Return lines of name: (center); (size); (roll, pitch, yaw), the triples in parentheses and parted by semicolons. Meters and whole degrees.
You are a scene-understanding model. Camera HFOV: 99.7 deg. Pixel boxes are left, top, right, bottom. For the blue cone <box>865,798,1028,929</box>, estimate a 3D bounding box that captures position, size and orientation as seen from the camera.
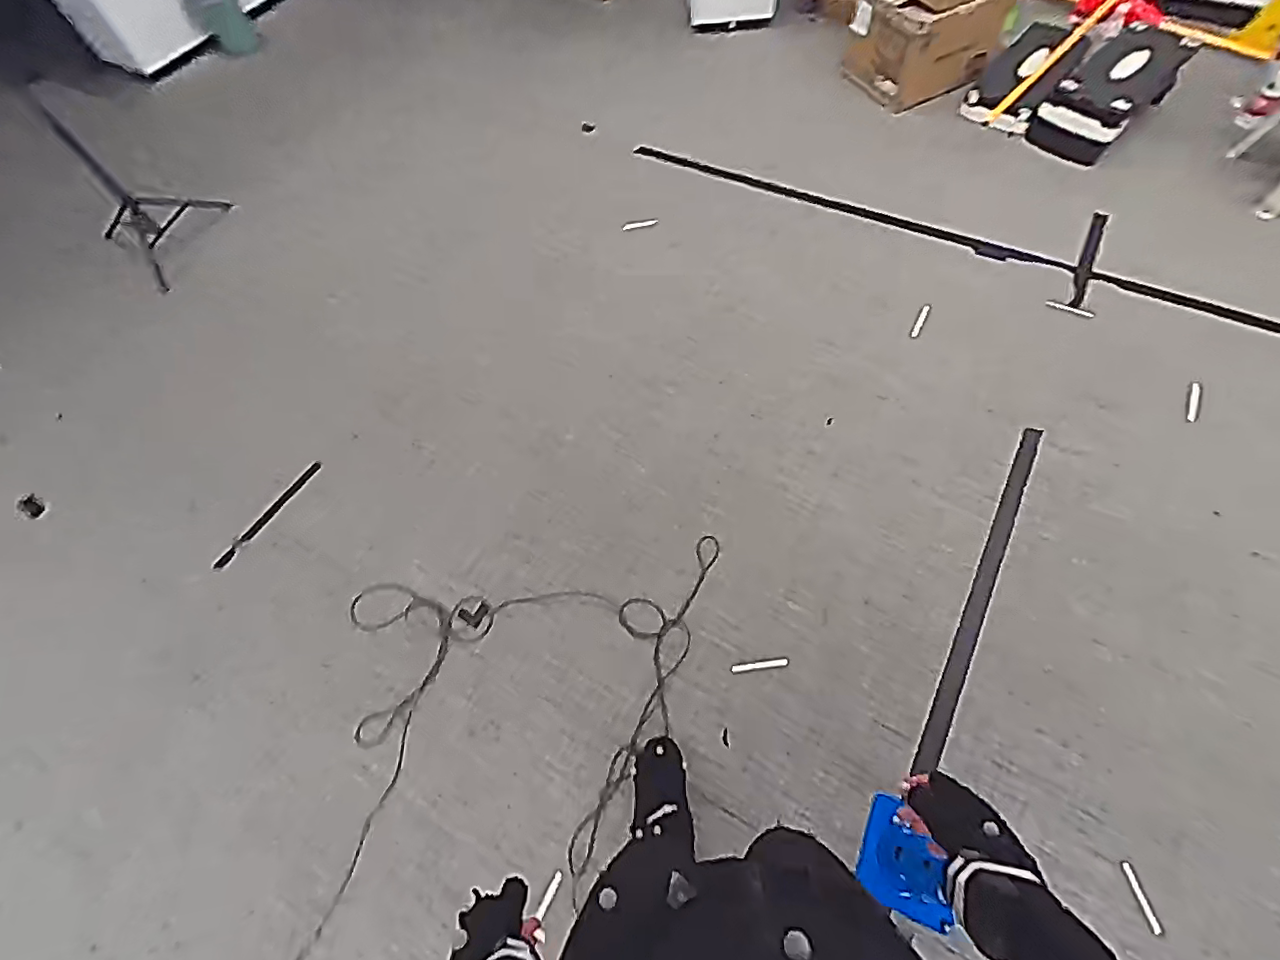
blue cone: (0.575, 0.730, 0.996); (0.192, 0.380, 0.193); (23, 67, 13)
